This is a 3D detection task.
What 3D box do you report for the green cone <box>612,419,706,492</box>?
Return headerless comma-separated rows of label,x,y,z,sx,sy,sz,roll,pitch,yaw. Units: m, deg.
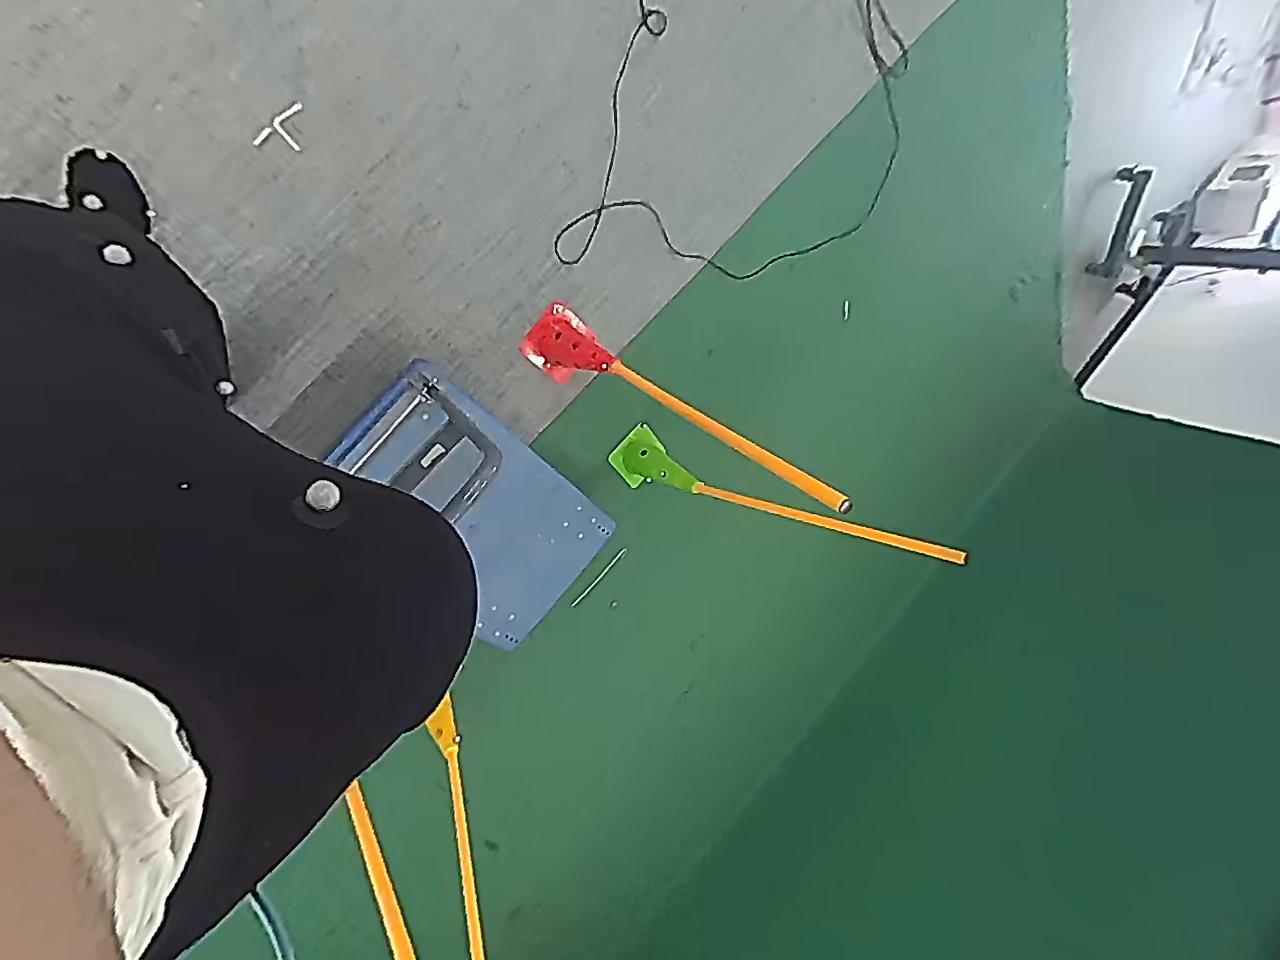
green cone,0.100,-0.044,1.920,0.200,0.368,0.202,-48,132,-8
